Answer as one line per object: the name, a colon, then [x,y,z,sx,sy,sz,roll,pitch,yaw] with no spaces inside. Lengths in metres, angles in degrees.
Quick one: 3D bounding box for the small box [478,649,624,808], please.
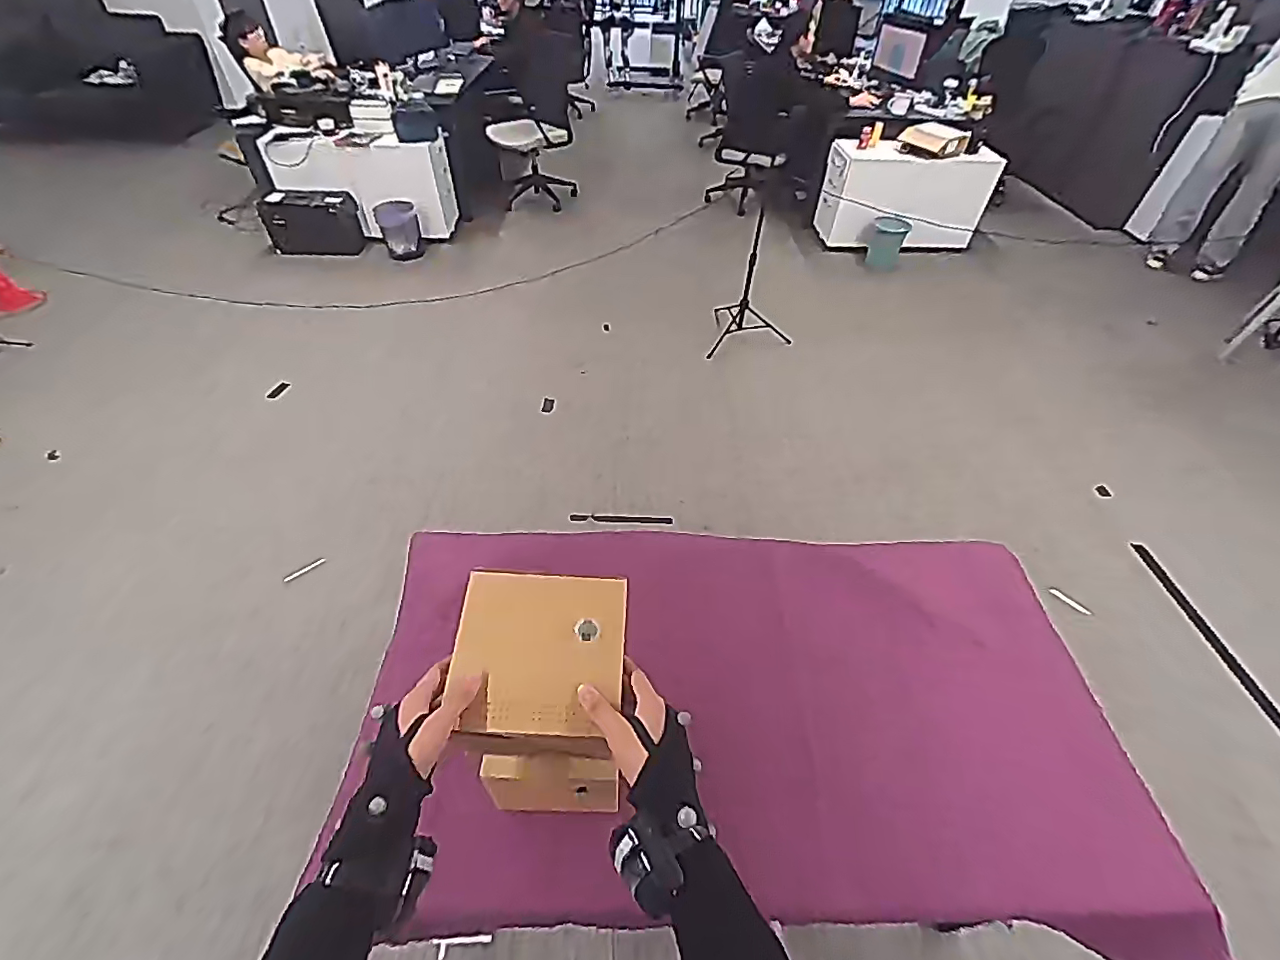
small box: [-0.117,0.363,0.785,0.179,0.176,0.168,2,47,-1]
